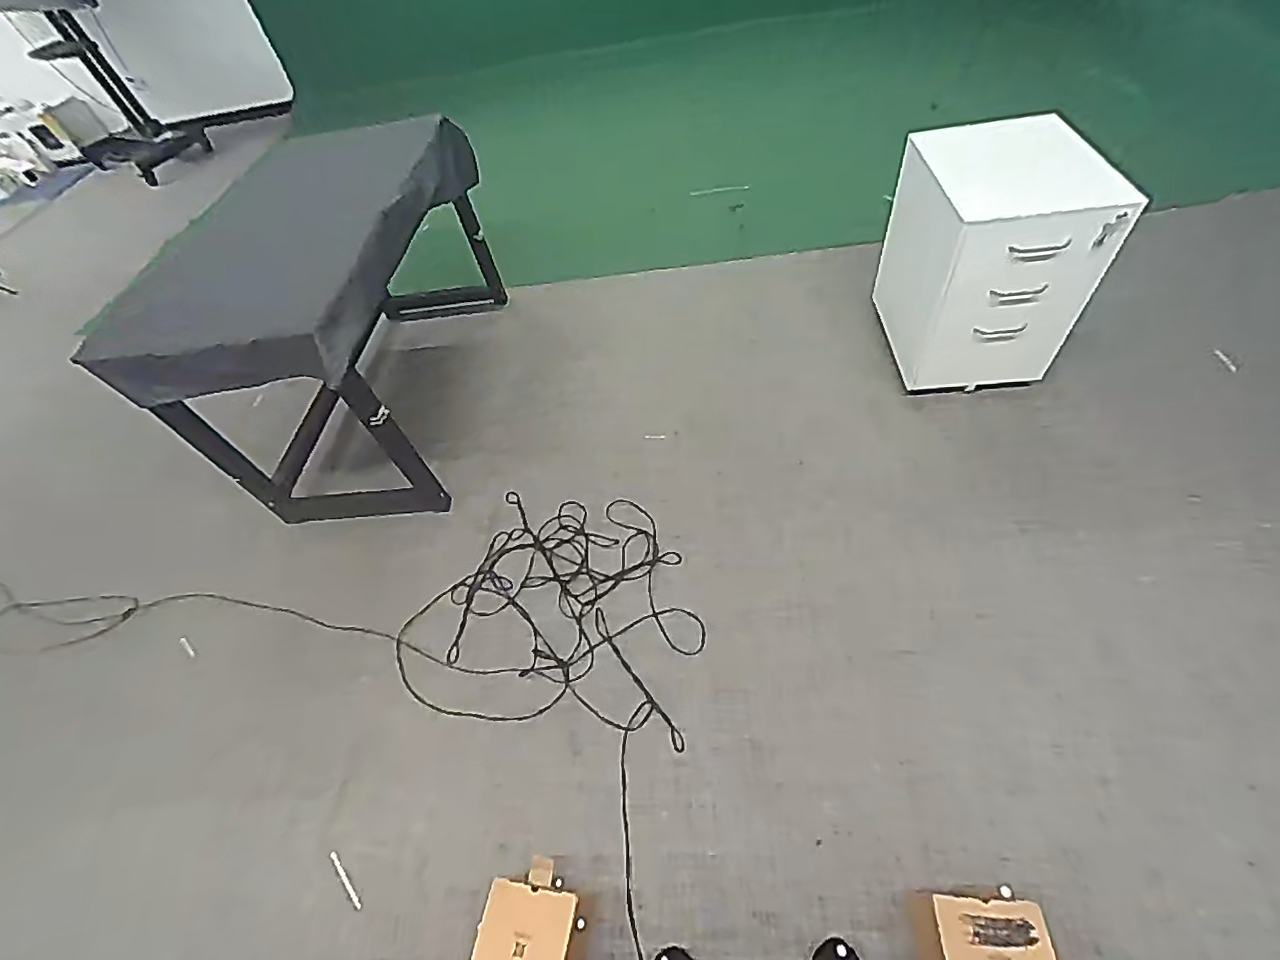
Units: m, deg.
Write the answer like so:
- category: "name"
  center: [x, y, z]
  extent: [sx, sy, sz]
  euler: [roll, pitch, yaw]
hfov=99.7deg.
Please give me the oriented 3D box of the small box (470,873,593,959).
- category: "small box"
  center: [-0.195, 0.850, 0.996]
  extent: [0.168, 0.176, 0.179]
  euler: [4, 53, 13]
